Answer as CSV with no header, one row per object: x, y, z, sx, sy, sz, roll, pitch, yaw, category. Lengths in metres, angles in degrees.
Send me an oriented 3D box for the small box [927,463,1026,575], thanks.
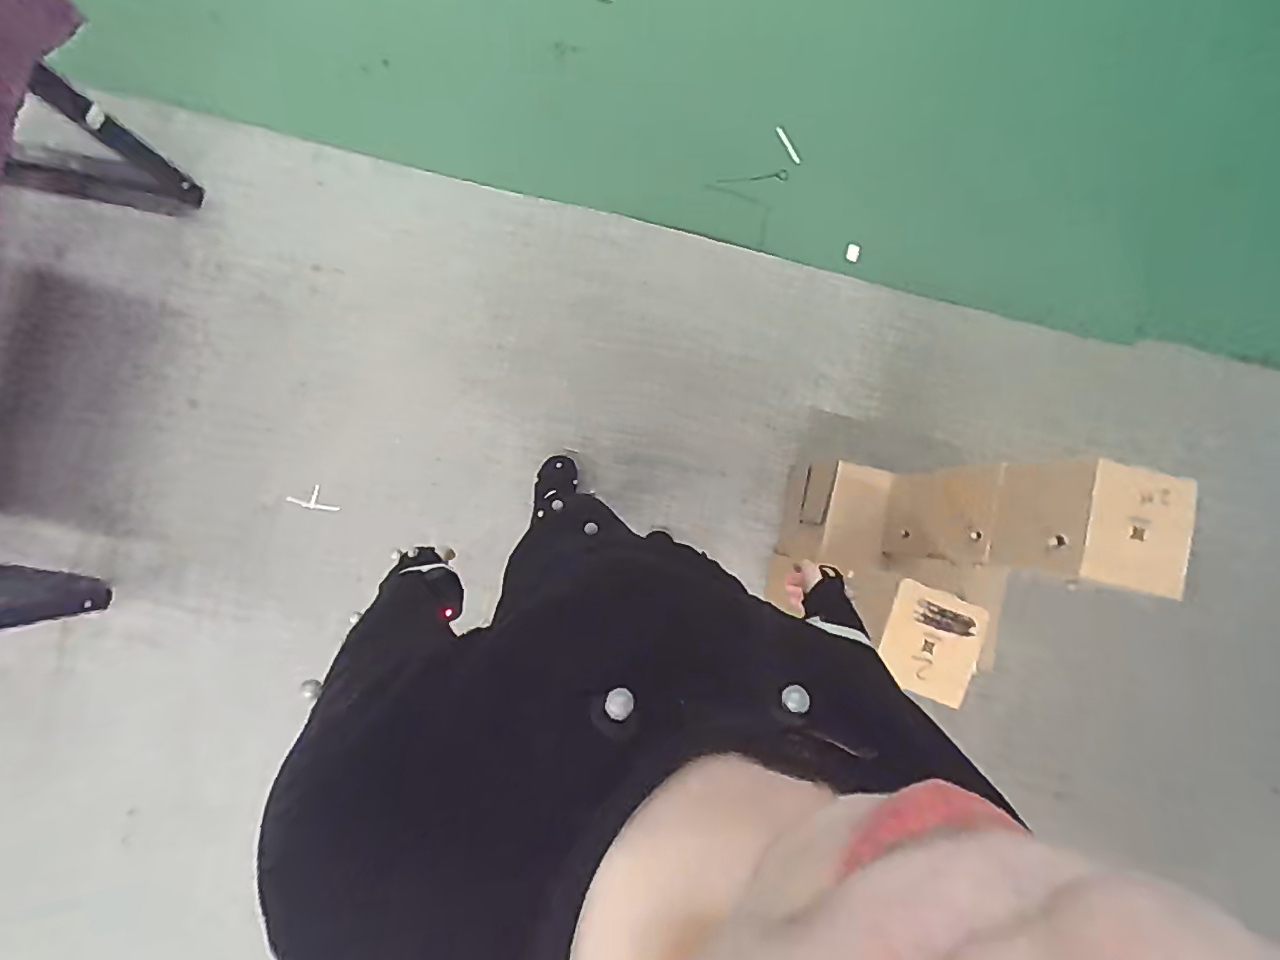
0.667,0.075,1.006,0.168,0.176,0.179,12,87,-6,small box

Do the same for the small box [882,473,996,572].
0.648,0.091,1.166,0.168,0.176,0.179,11,85,-5,small box

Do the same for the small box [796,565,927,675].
0.457,0.285,1.136,0.179,0.176,0.168,17,86,-4,small box

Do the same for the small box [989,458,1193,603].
0.686,0.076,0.842,0.168,0.176,0.179,14,85,-6,small box
